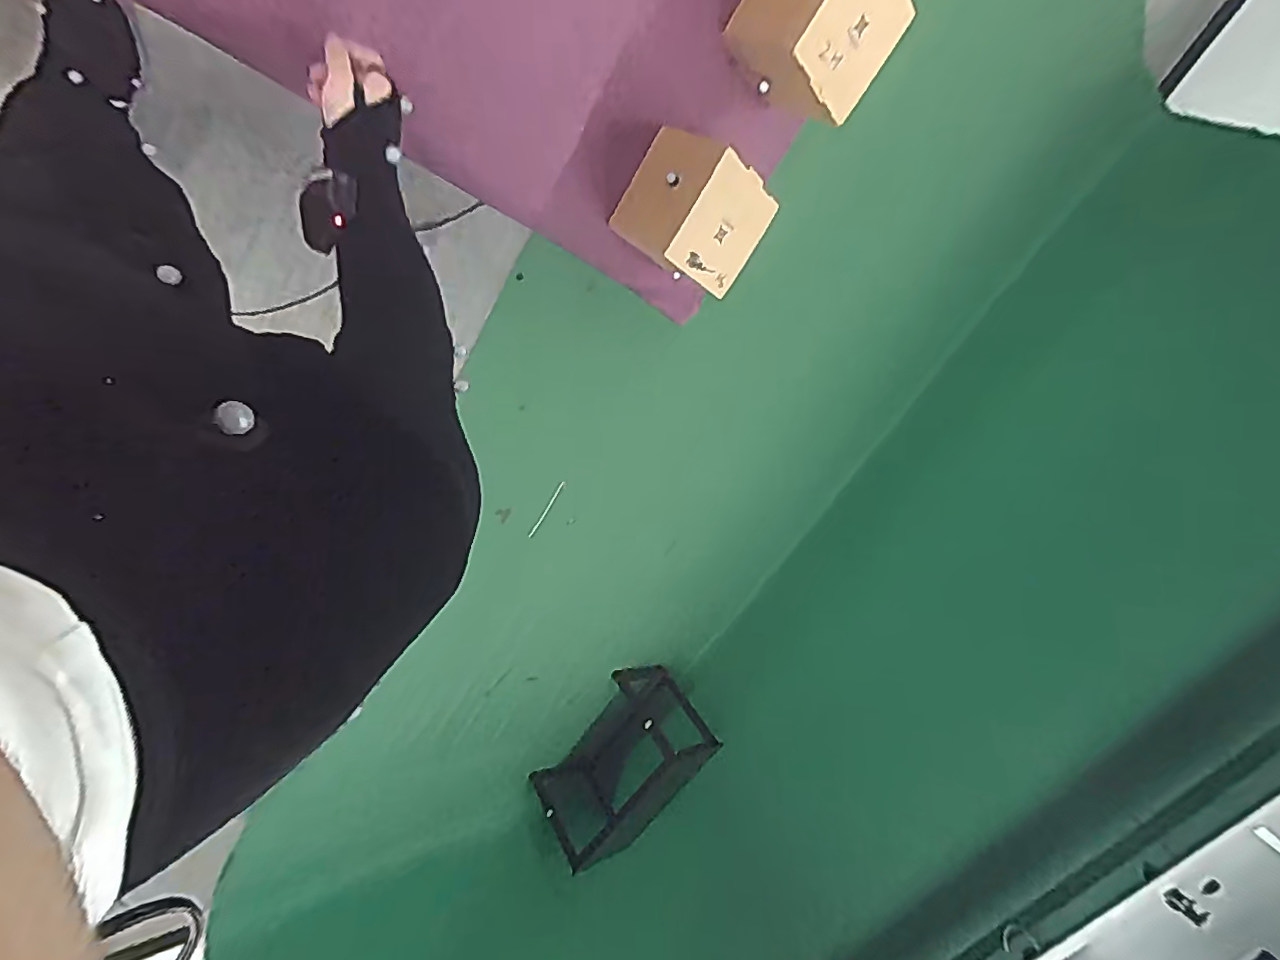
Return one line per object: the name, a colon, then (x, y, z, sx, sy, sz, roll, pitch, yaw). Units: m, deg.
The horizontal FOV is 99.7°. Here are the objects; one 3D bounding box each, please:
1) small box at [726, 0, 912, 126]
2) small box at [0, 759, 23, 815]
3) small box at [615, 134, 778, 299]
small box: (0.265, -0.687, 0.819, 0.168, 0.176, 0.179, 15, 116, -47)
small box: (-1.928, 0.939, 1.553, 0.168, 0.176, 0.179, 21, 109, -47)
small box: (0.088, -0.440, 0.902, 0.168, 0.176, 0.179, 15, 112, -47)
